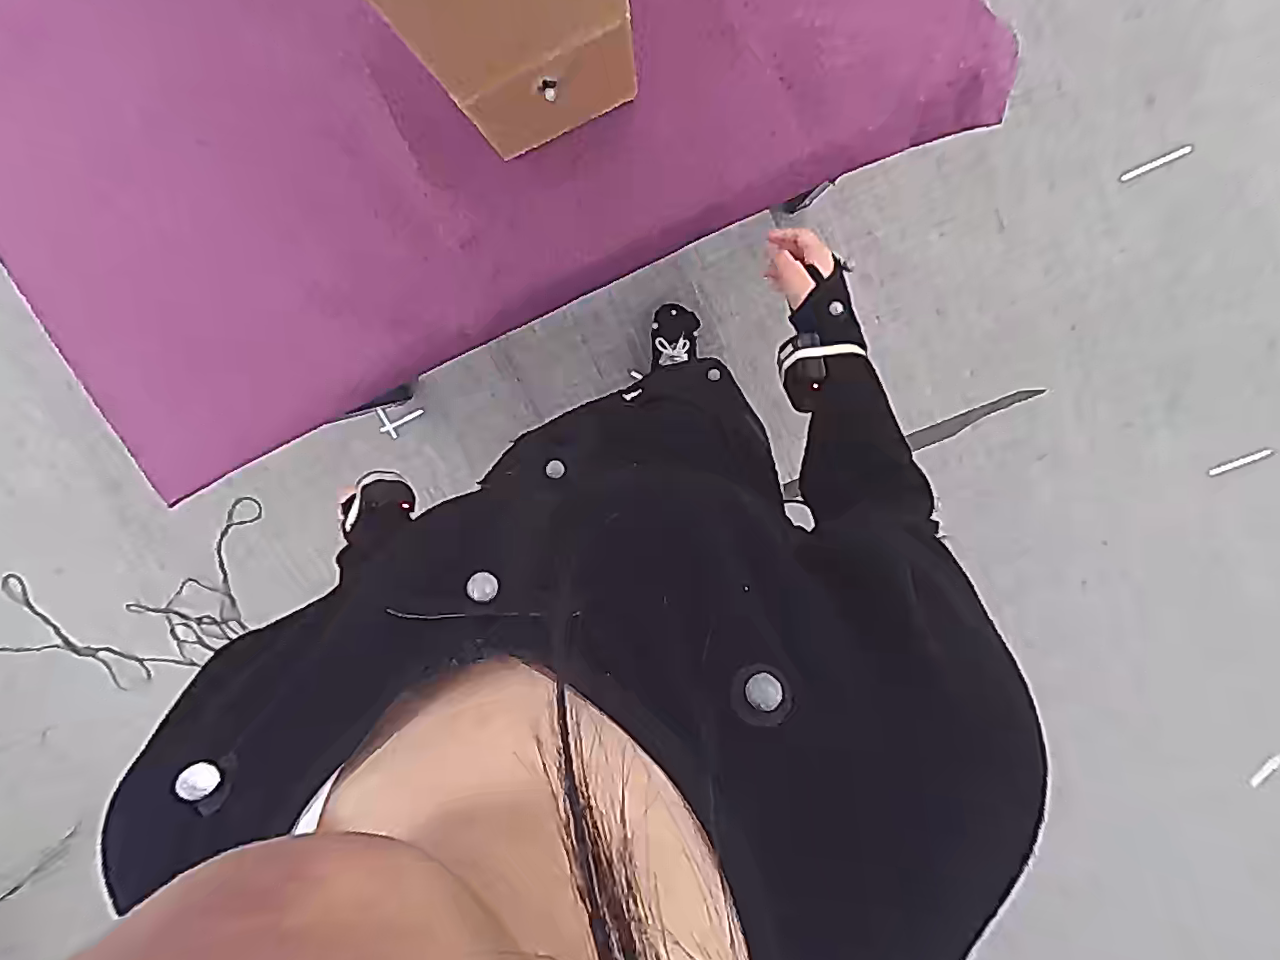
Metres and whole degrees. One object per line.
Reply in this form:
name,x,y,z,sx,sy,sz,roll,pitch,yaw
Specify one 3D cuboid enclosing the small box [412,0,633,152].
small box,-0.117,-0.471,0.546,0.179,0.176,0.168,-21,103,7
